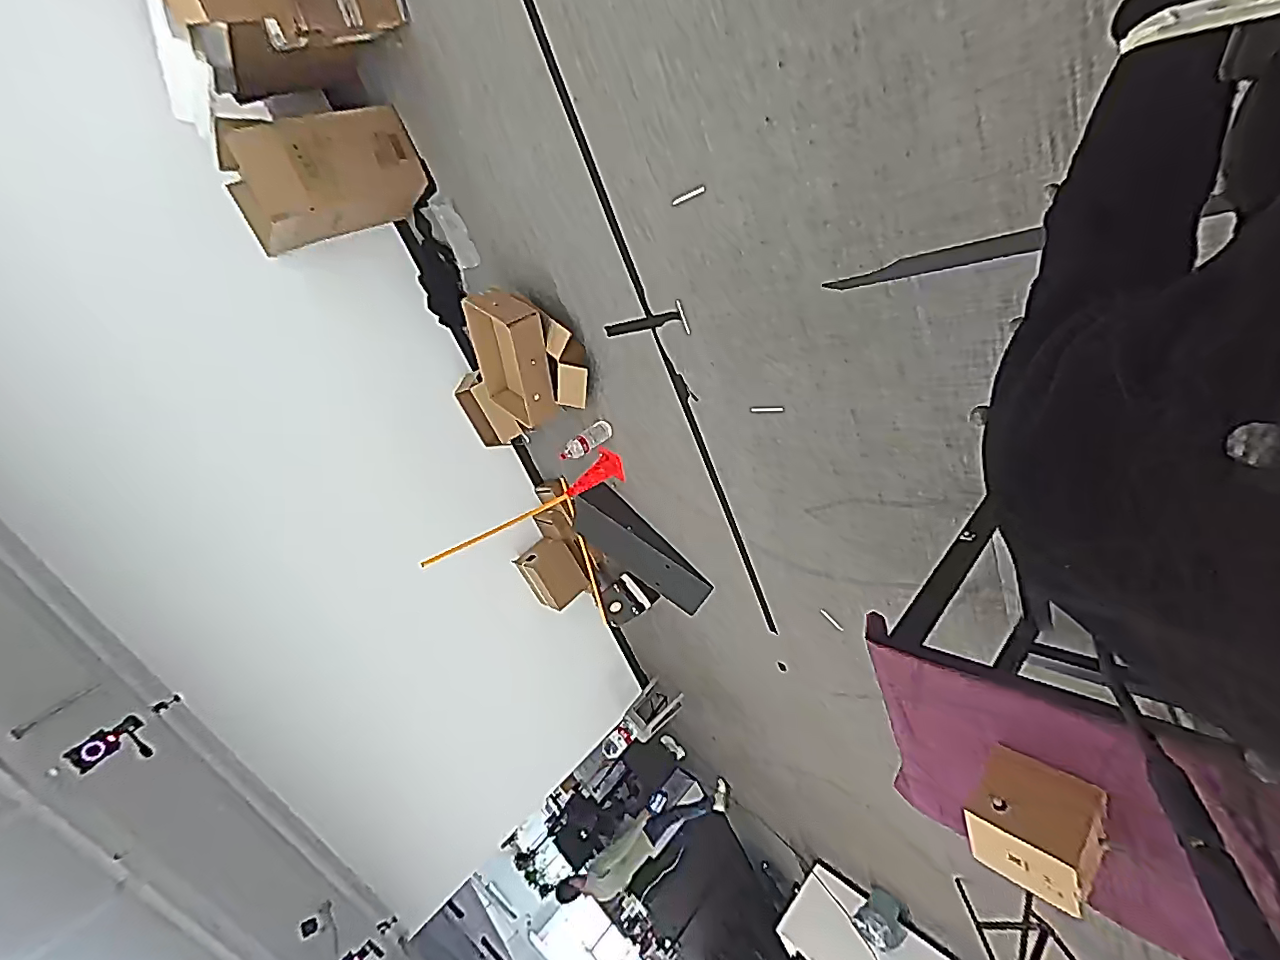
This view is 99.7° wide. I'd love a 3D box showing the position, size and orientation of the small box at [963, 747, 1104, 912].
[{"bbox_3d":[0.750,0.648,1.030,0.179,0.176,0.168,10,131,51],"label":"small box"}]
